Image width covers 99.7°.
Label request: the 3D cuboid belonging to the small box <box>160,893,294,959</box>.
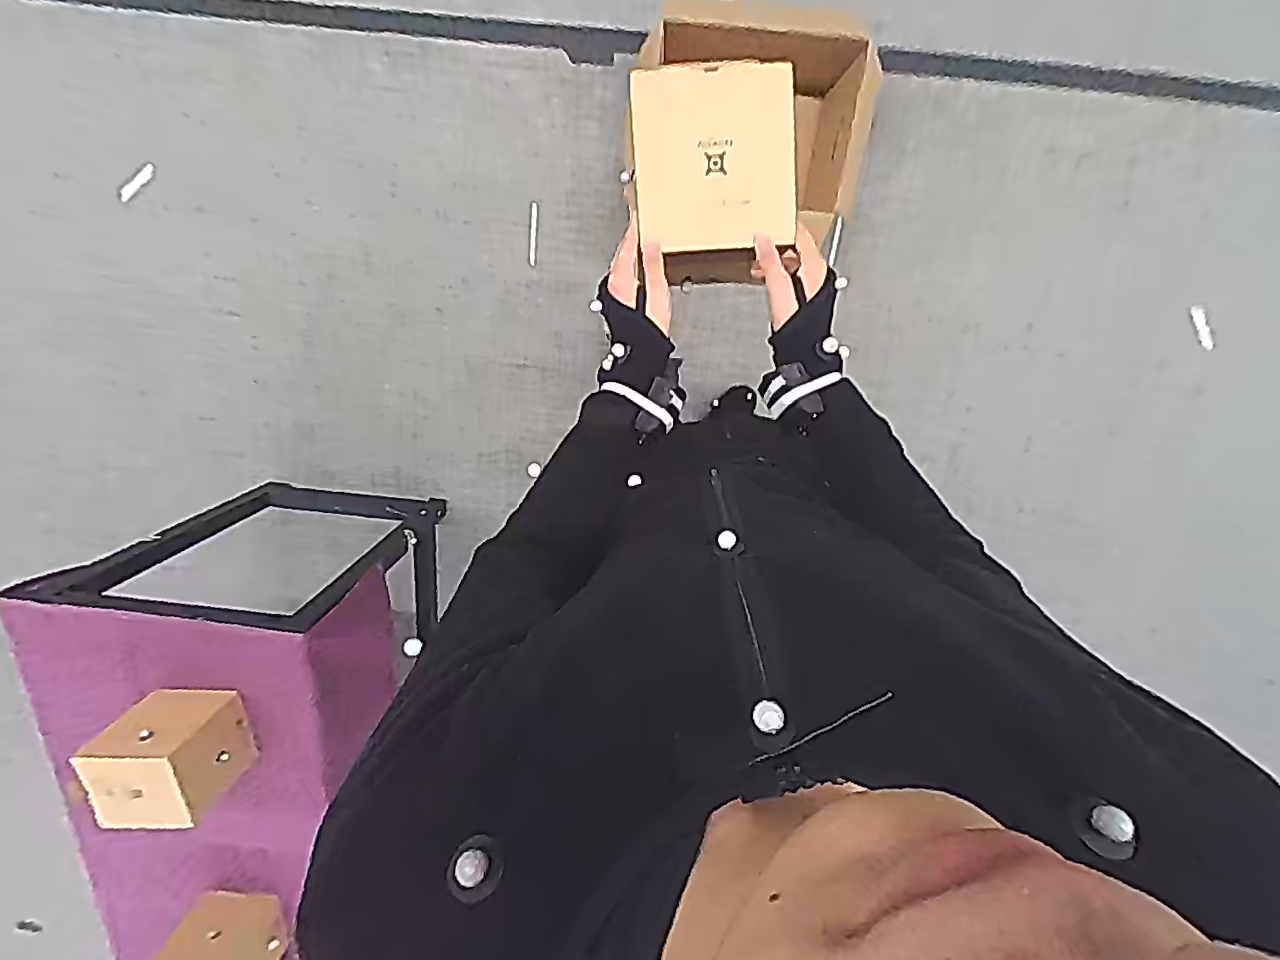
[{"bbox_3d":[-0.929,1.075,1.220,0.179,0.176,0.168,2,109,2],"label":"small box"}]

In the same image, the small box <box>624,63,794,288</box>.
[{"bbox_3d":[0.069,-0.334,0.623,0.168,0.176,0.179,-4,97,-2],"label":"small box"}]

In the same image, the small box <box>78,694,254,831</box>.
[{"bbox_3d":[-0.877,0.529,1.027,0.179,0.176,0.168,0,109,3],"label":"small box"}]
